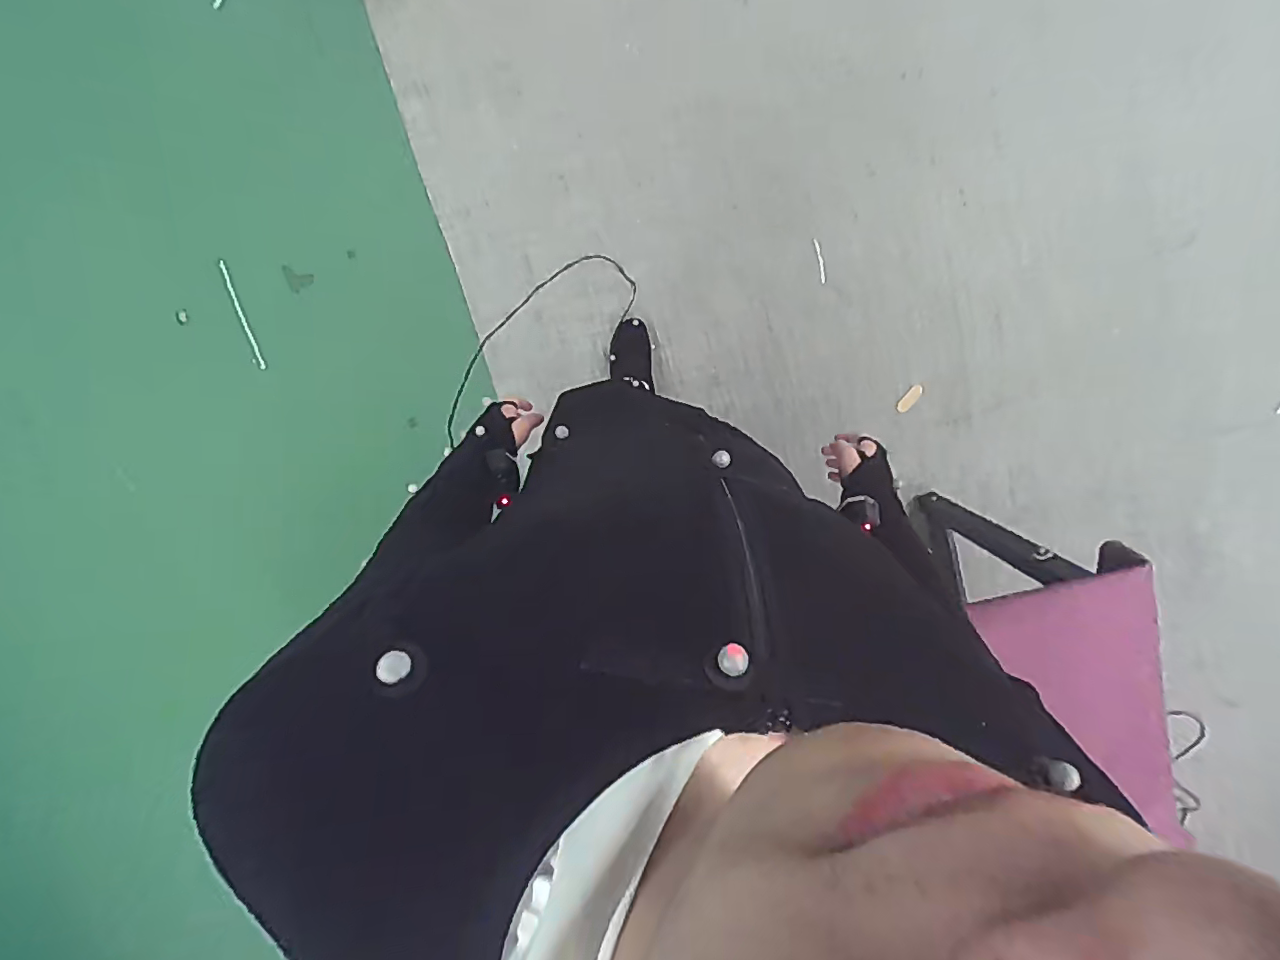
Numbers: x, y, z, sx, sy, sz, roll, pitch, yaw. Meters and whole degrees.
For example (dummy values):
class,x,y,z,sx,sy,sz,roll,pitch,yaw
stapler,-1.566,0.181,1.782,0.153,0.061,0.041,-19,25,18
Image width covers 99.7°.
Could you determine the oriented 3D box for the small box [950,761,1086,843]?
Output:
class,x,y,z,sx,sy,sz,roll,pitch,yaw
small box,0.642,0.623,0.947,0.168,0.176,0.179,-15,102,6
